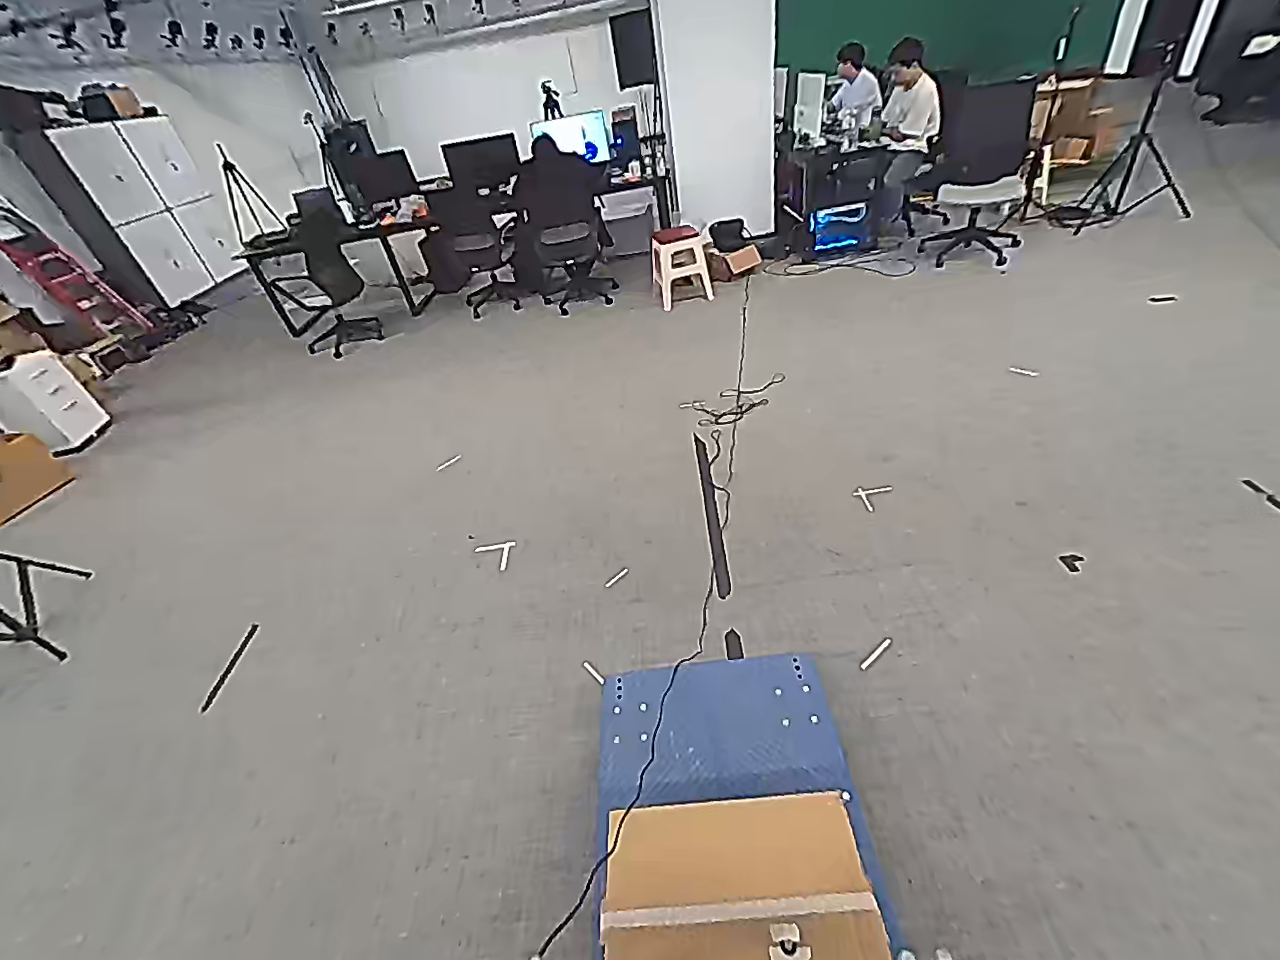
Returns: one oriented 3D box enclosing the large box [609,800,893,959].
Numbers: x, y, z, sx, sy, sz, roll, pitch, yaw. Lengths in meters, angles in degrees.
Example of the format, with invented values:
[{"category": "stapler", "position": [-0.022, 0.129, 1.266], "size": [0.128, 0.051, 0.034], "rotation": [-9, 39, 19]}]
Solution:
[{"category": "large box", "position": [0.171, 0.772, 0.881], "size": [0.408, 0.320, 0.320], "rotation": [-8, 37, 4]}]
